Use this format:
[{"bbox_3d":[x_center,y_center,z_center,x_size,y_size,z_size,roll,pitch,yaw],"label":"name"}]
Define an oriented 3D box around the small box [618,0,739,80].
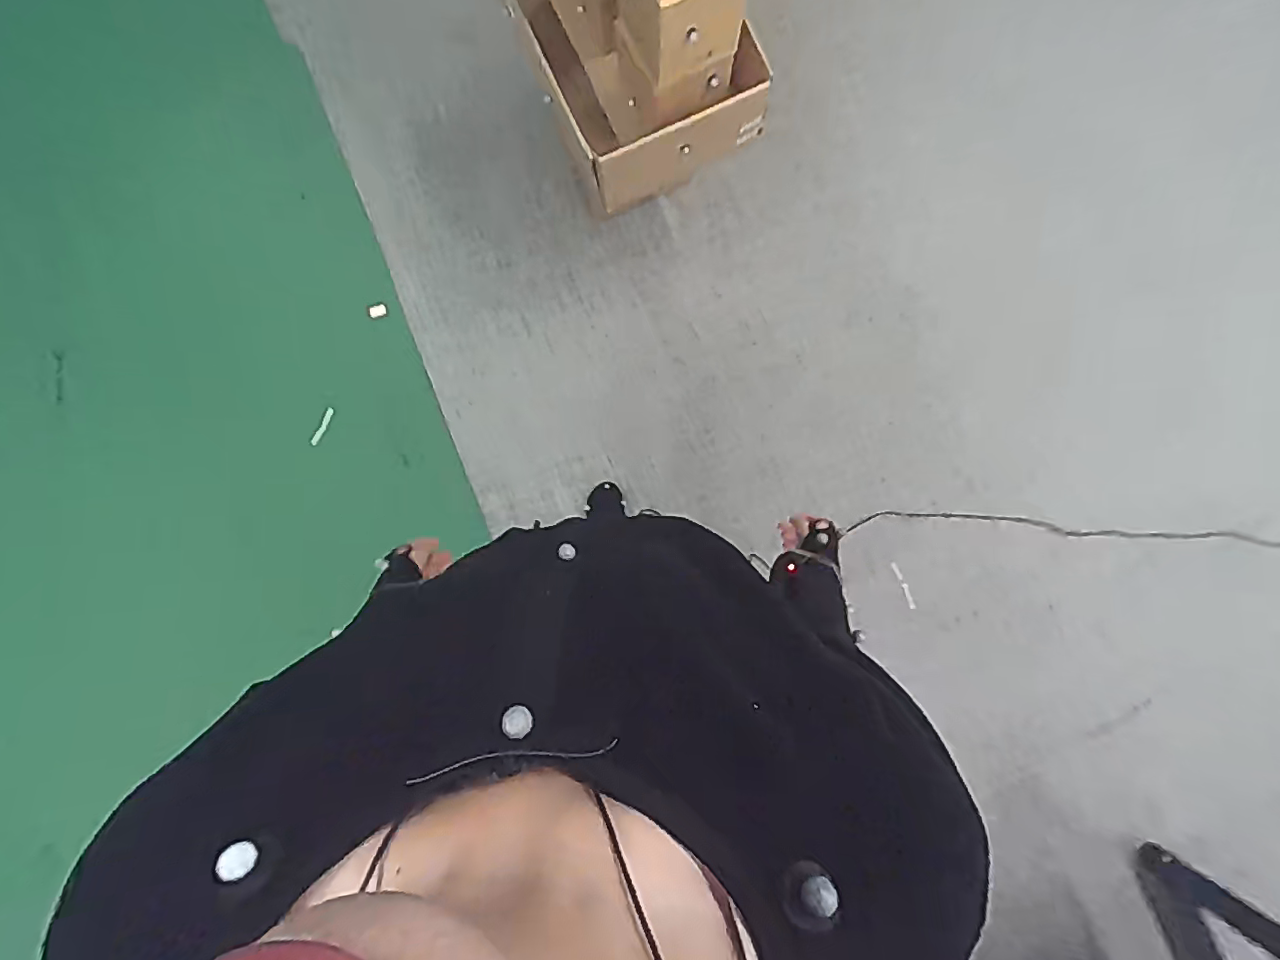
[{"bbox_3d":[0.065,-0.845,0.937,0.168,0.176,0.179,-26,86,-1],"label":"small box"}]
